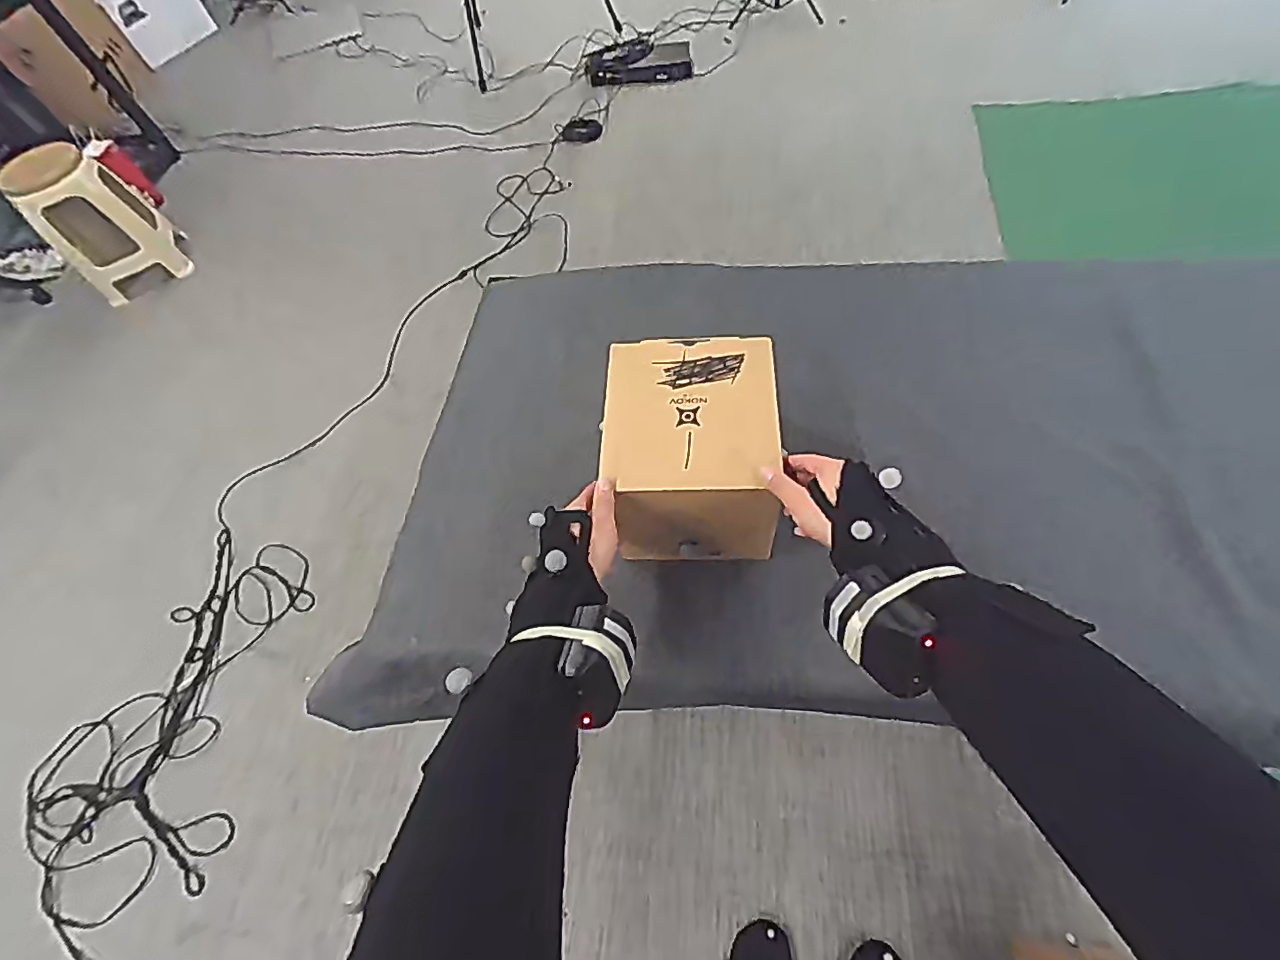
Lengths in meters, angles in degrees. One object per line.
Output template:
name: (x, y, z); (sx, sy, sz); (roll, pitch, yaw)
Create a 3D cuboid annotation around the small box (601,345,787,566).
small box: (0.059, -0.020, 0.582); (0.168, 0.176, 0.179); (-2, 60, 8)
